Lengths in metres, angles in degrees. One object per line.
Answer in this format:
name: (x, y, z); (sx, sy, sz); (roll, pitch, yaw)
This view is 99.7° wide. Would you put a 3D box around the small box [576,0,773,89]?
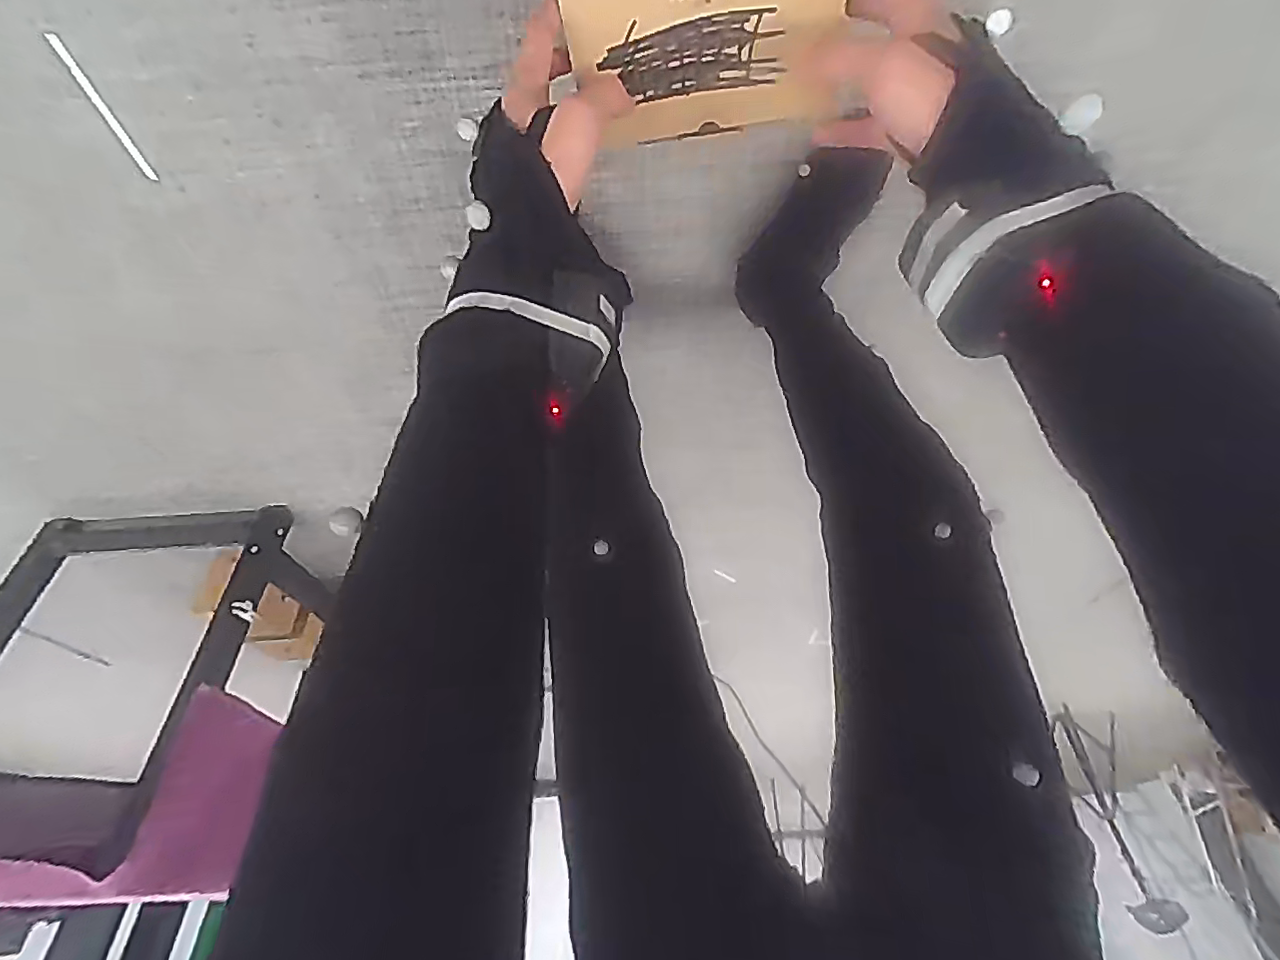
small box: (0.021, -0.479, 0.469); (0.168, 0.176, 0.179); (-6, 144, 3)
